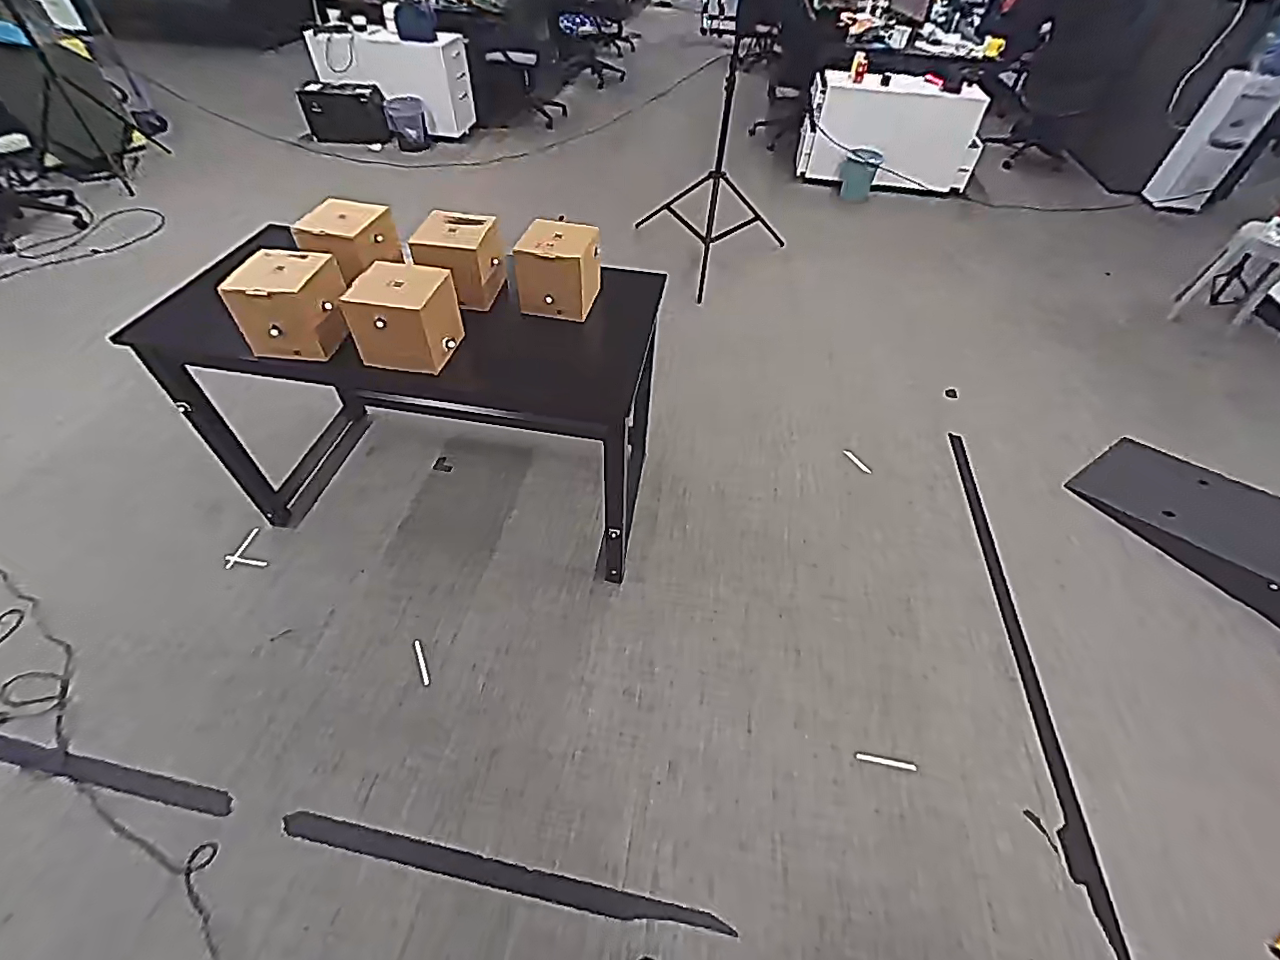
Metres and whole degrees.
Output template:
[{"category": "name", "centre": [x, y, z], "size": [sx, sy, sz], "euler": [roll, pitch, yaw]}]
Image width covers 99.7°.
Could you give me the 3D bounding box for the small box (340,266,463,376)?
[{"category": "small box", "centre": [-0.518, -0.350, 1.201], "size": [0.179, 0.176, 0.168], "euler": [8, 49, 3]}]

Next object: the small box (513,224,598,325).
[{"category": "small box", "centre": [-0.206, -0.520, 1.366], "size": [0.168, 0.176, 0.179], "euler": [10, 49, 6]}]

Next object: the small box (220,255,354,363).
[{"category": "small box", "centre": [-0.773, -0.381, 1.213], "size": [0.168, 0.176, 0.179], "euler": [4, 49, 0]}]

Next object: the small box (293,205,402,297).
[{"category": "small box", "centre": [-0.738, -0.580, 1.394], "size": [0.168, 0.176, 0.179], "euler": [9, 49, 5]}]
